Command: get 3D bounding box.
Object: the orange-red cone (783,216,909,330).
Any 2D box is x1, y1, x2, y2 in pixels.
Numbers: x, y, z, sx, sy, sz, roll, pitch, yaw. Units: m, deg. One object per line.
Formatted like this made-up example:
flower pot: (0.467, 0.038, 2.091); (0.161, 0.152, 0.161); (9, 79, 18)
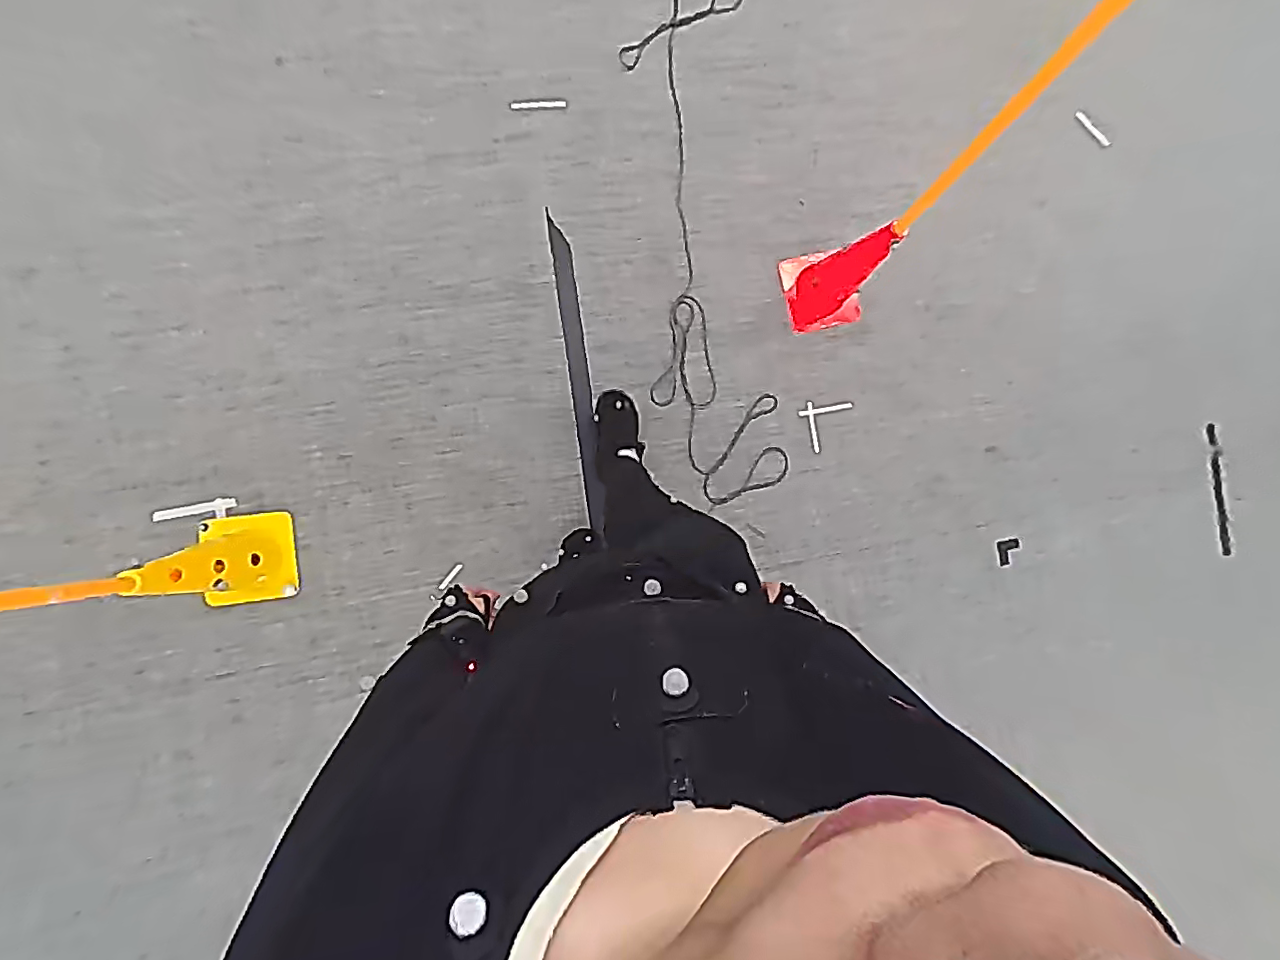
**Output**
orange-red cone: (0.509, -0.513, 1.274); (0.199, 0.360, 0.198); (-14, 90, -7)
